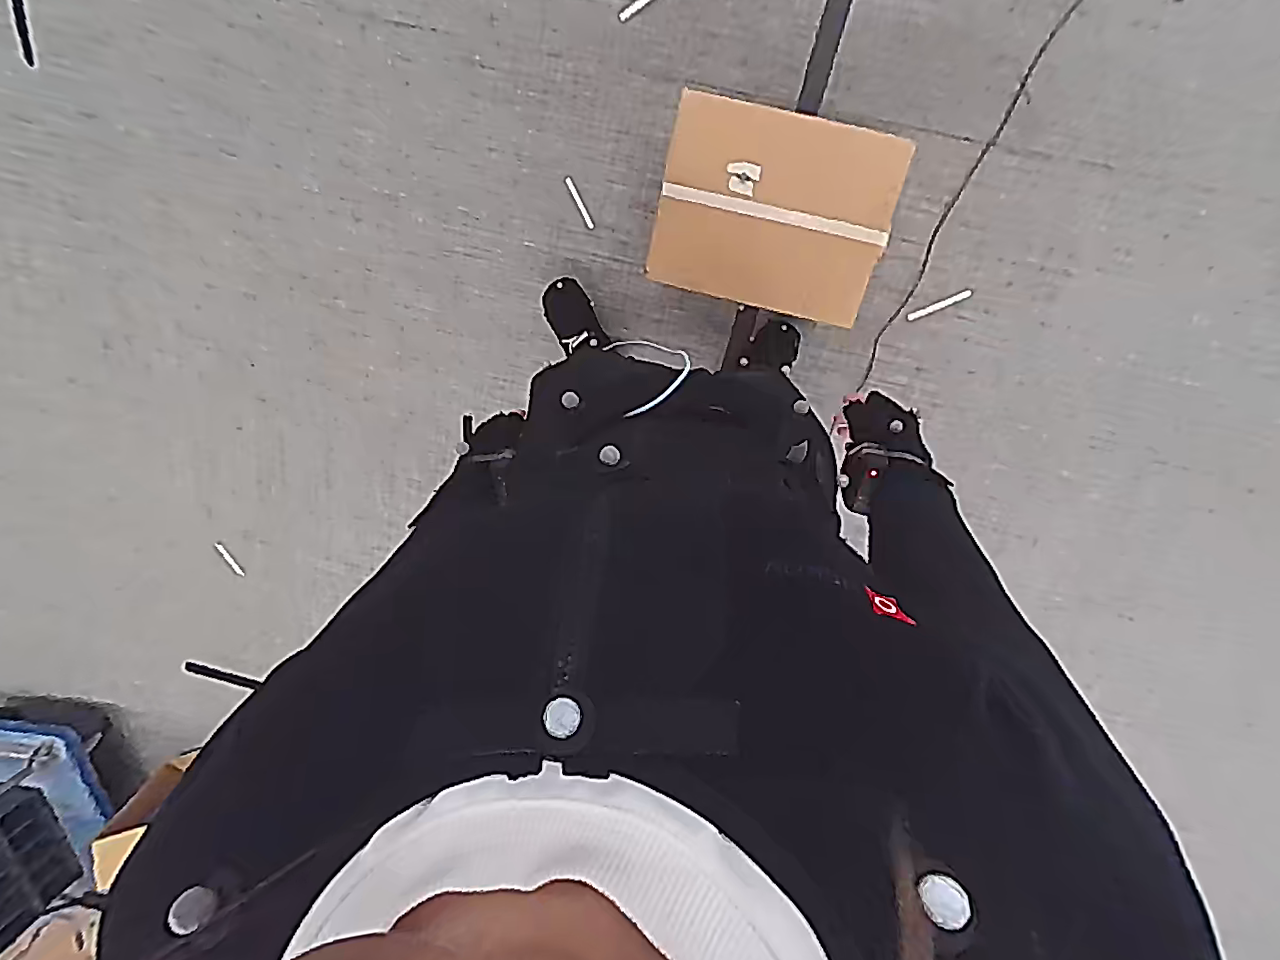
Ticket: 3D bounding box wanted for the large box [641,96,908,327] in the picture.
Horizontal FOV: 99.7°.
[{"bbox_3d":[0.248,-0.519,1.097,0.408,0.320,0.320,15,110,4],"label":"large box"}]
